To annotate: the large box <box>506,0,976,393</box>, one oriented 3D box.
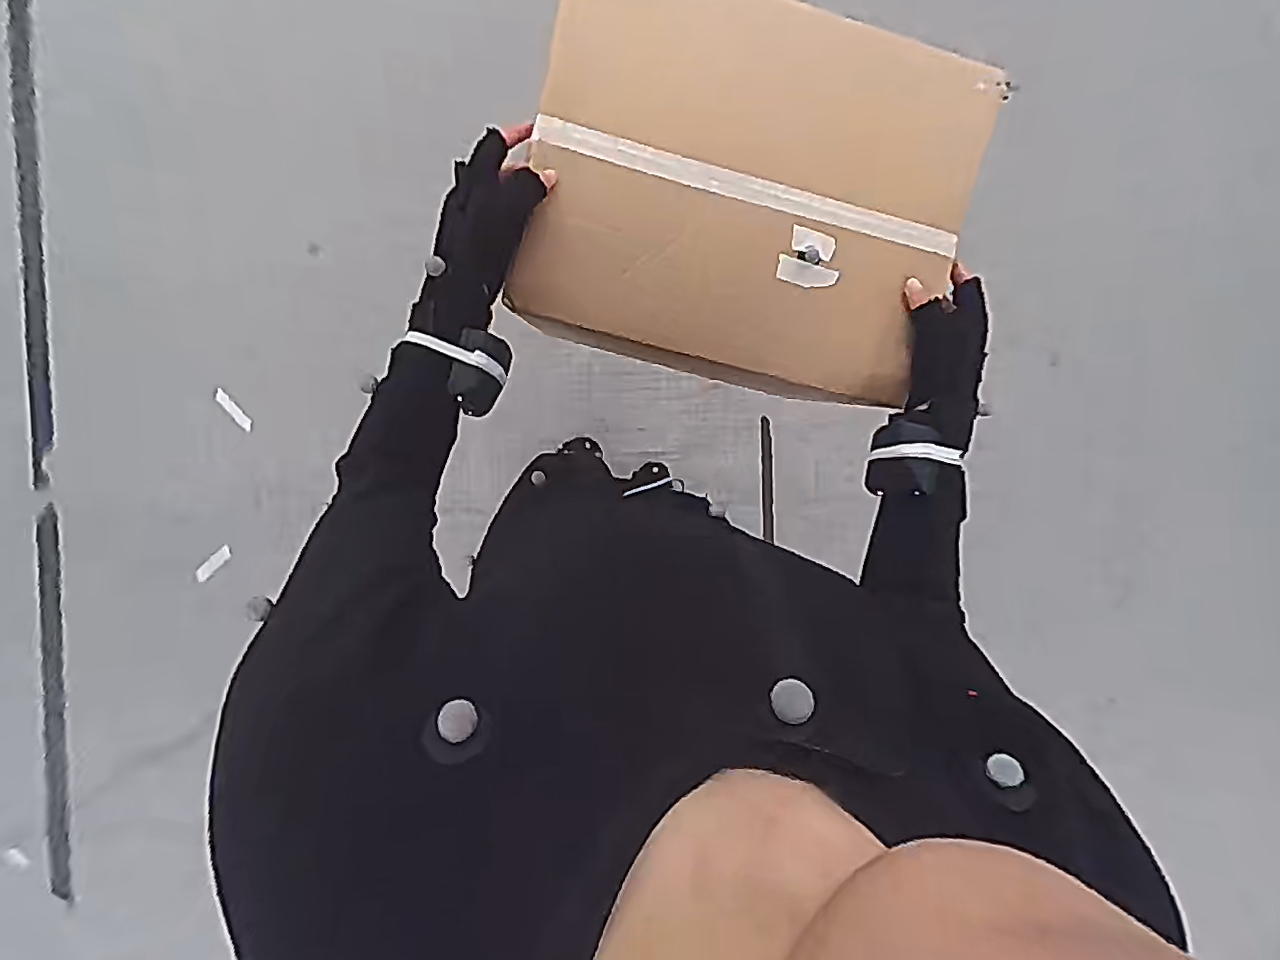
[{"bbox_3d":[0.081,-0.298,0.654,0.408,0.320,0.320,12,100,-7],"label":"large box"}]
